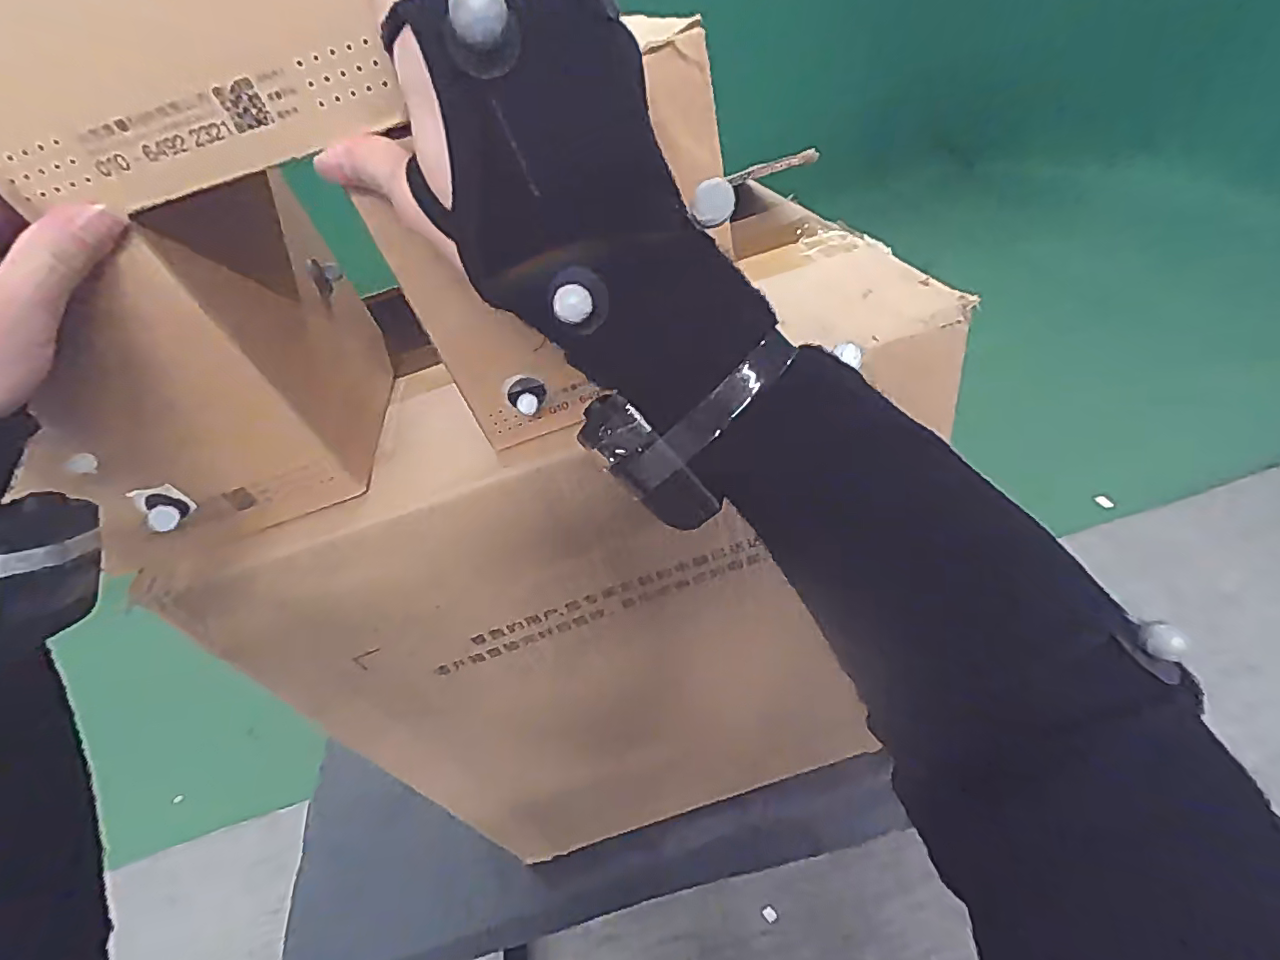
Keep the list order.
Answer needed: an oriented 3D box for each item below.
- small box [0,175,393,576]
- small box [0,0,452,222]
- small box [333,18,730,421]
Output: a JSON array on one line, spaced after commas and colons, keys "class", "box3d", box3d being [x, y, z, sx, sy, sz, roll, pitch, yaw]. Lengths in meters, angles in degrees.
[{"class": "small box", "box3d": [-0.278, -0.074, 0.336, 0.168, 0.176, 0.179, -21, 44, 0]}, {"class": "small box", "box3d": [-0.194, -0.231, 0.225, 0.168, 0.176, 0.179, -17, 42, 1]}, {"class": "small box", "box3d": [-0.054, -0.156, 0.340, 0.168, 0.176, 0.179, -20, 42, -3]}]
